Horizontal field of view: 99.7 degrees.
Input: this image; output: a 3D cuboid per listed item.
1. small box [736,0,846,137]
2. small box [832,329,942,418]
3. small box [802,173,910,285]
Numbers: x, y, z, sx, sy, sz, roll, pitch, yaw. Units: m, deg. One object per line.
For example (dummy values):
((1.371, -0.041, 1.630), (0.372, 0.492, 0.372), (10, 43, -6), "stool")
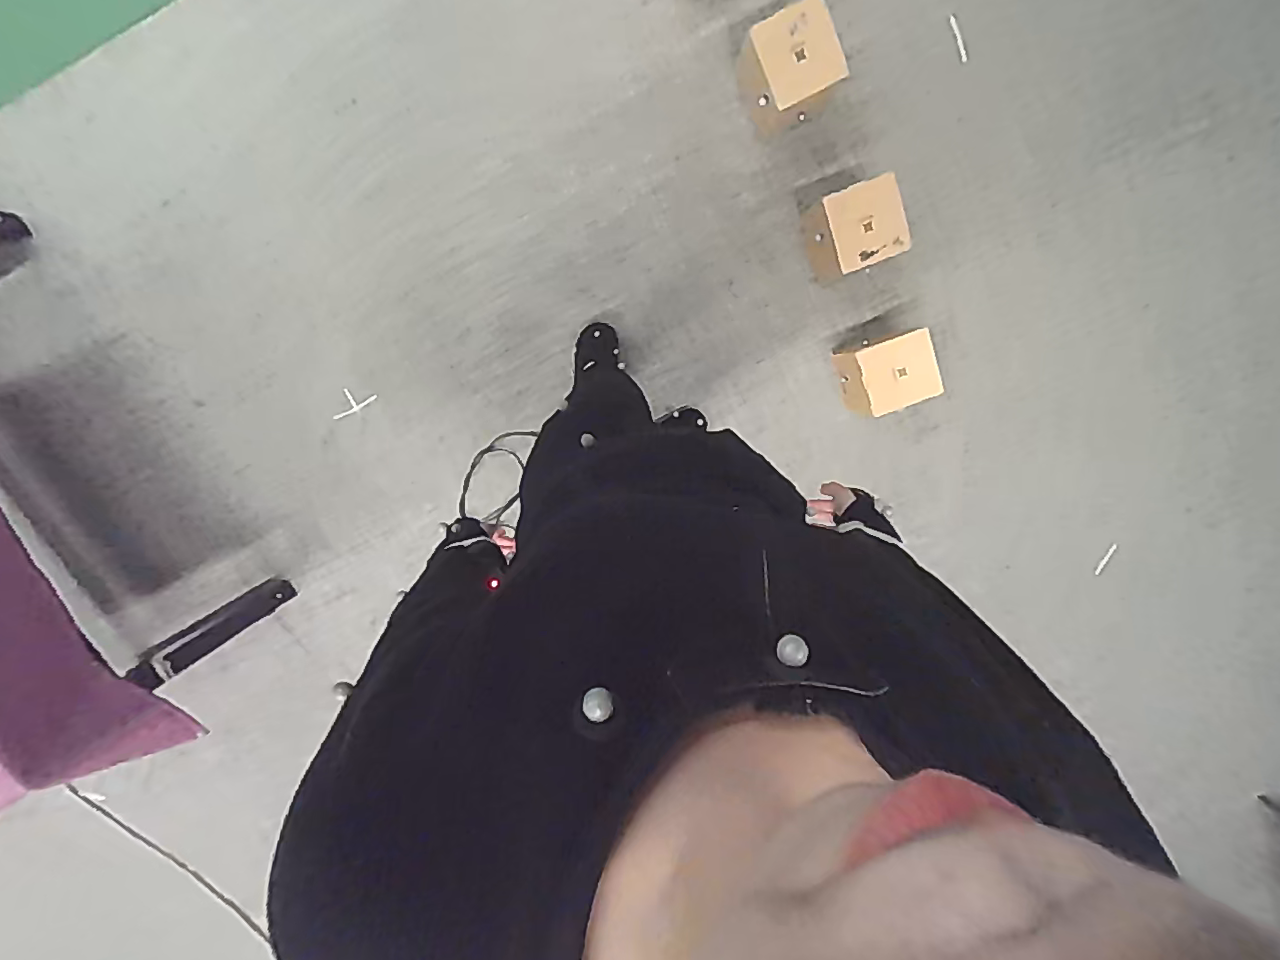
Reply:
((0.333, -0.913, 1.221), (0.168, 0.176, 0.179), (-25, 100, 4), "small box")
((0.611, -0.268, 1.352), (0.179, 0.176, 0.168), (-20, 101, 5), "small box")
((0.504, -0.587, 1.286), (0.168, 0.176, 0.179), (-19, 100, 4), "small box")
